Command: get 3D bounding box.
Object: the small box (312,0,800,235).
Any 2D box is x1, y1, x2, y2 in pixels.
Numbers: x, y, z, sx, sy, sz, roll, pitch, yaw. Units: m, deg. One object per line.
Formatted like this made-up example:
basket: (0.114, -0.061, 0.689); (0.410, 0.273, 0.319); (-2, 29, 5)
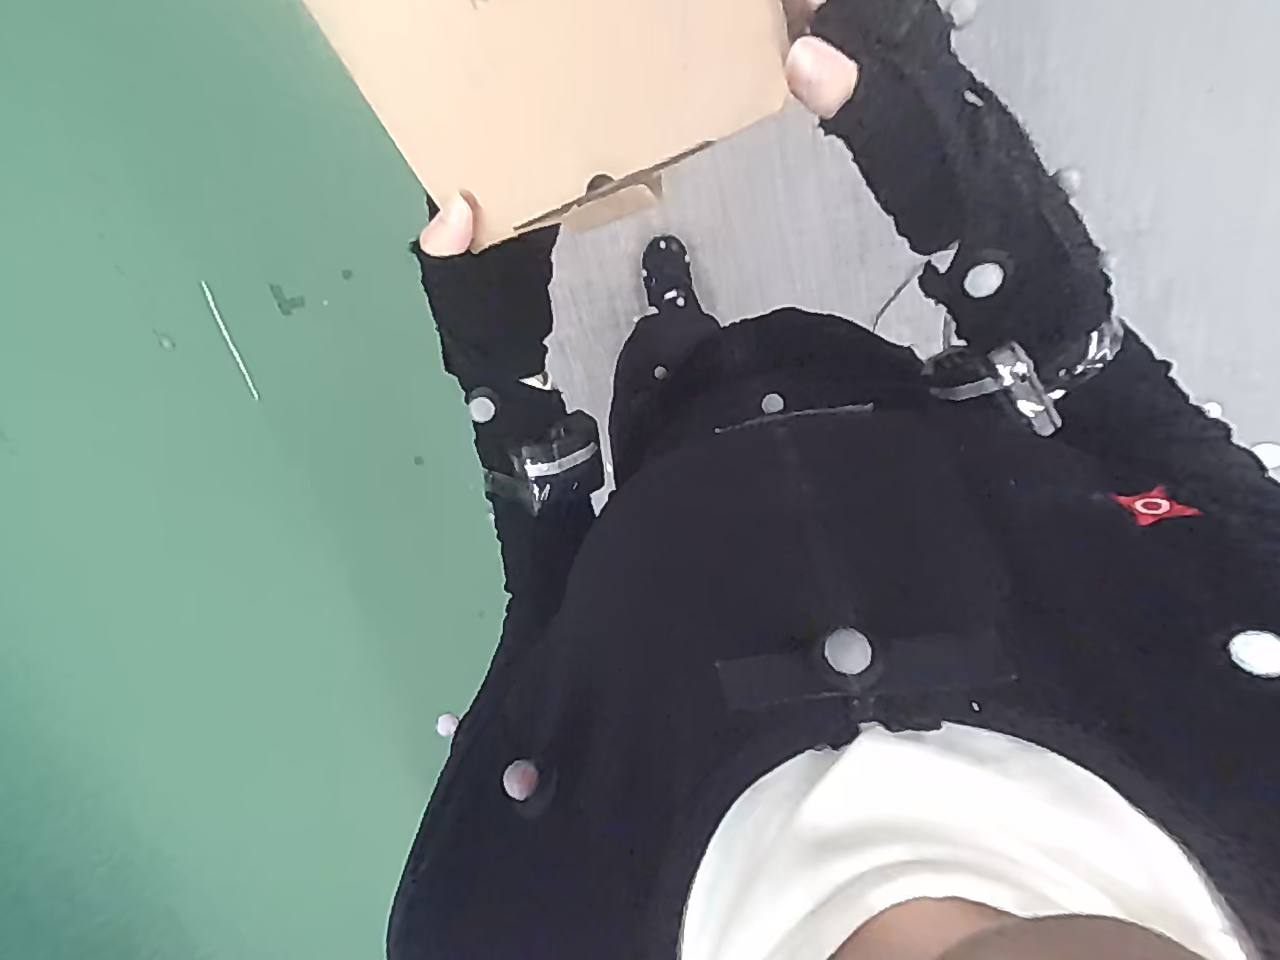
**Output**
small box: (-0.032, -0.249, 0.239); (0.168, 0.176, 0.179); (-8, 132, 28)
